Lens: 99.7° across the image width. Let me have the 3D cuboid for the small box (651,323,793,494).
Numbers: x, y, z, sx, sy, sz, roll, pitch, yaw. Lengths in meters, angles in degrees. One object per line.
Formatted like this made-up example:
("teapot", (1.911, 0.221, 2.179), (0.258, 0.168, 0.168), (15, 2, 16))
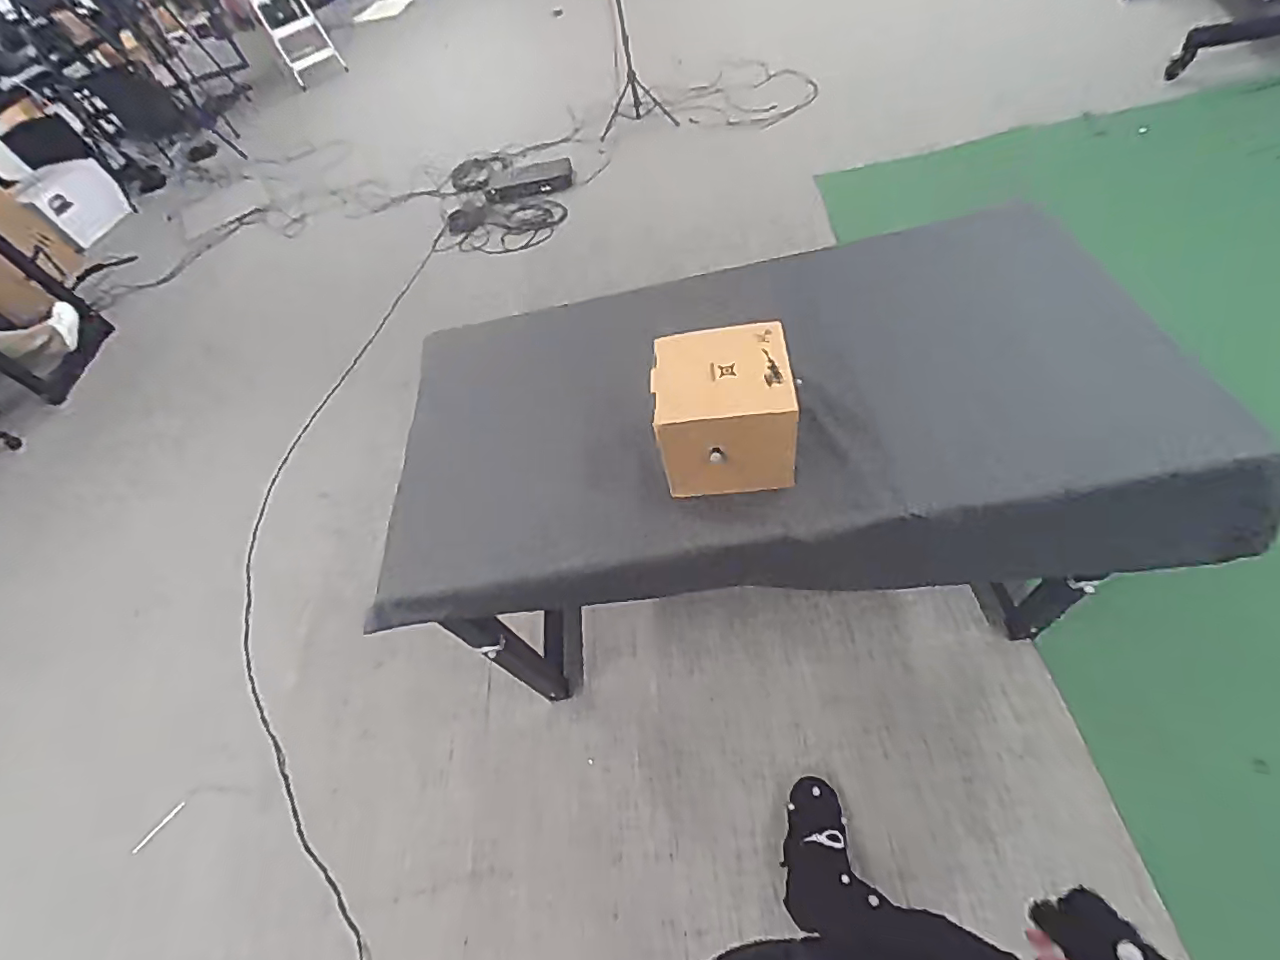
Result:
("small box", (0.117, -0.094, 0.776), (0.179, 0.176, 0.168), (-8, 53, 8))
